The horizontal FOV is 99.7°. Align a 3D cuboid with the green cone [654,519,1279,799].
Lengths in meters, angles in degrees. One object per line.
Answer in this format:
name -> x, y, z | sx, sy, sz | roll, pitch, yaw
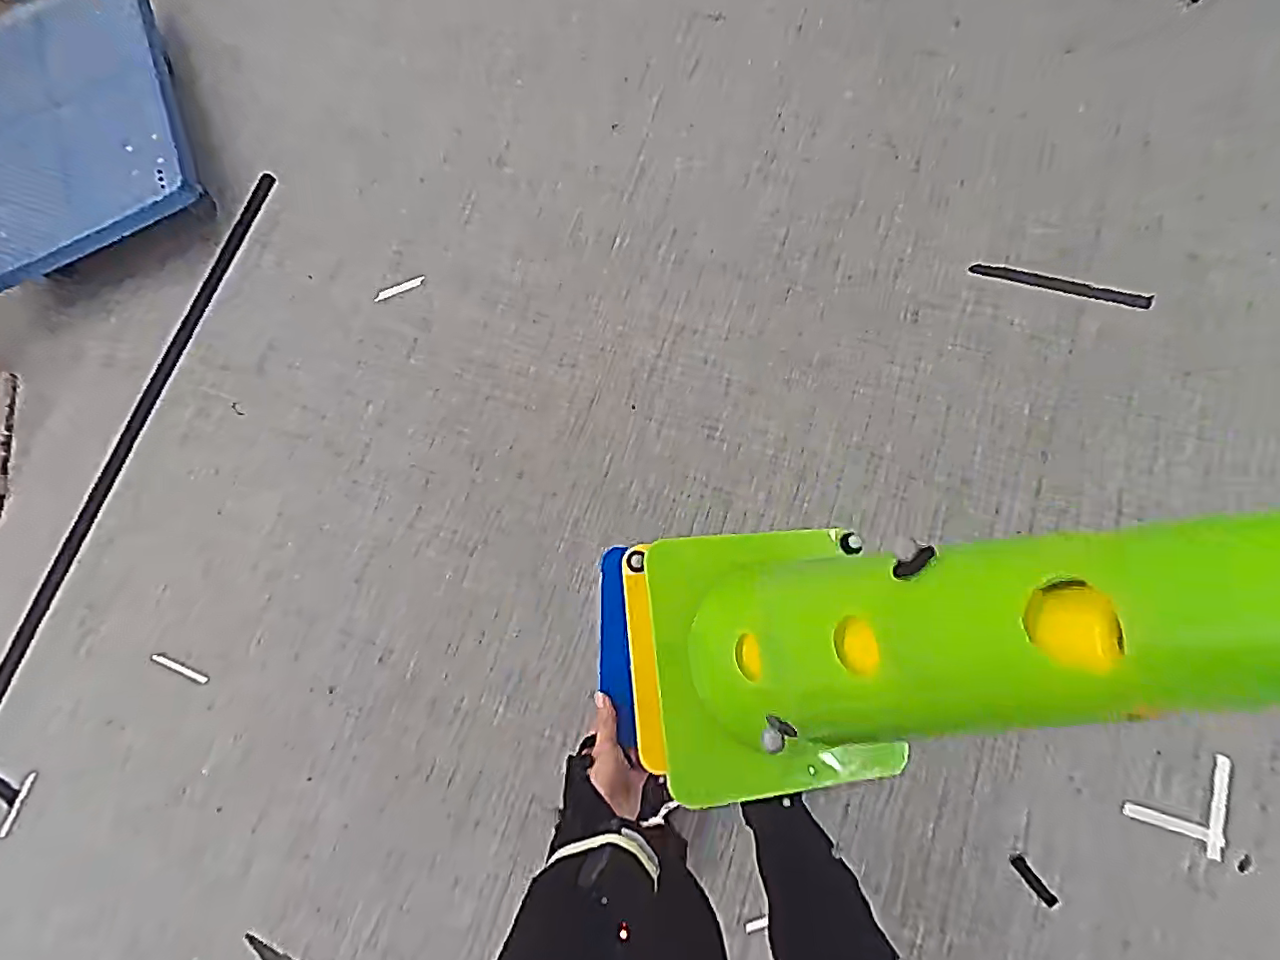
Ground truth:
green cone -> 0.147, 0.076, 0.277 | 0.200, 0.368, 0.202 | -3, 72, -12
